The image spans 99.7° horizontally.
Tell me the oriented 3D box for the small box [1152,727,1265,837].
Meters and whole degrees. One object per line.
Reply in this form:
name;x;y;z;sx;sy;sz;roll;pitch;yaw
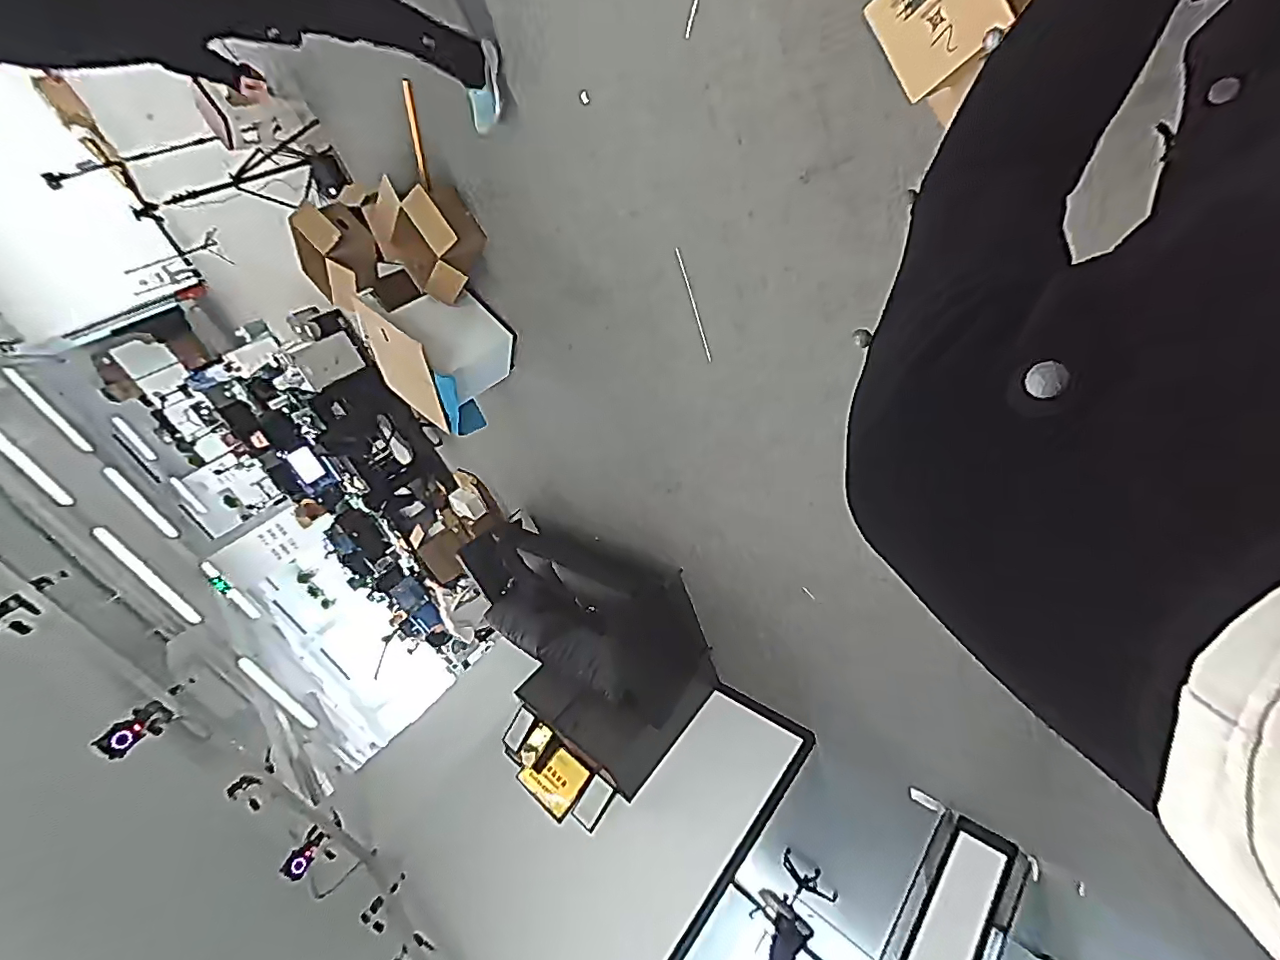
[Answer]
small box;1.584;0.837;1.507;0.168;0.176;0.179;25;142;40

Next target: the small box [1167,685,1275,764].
small box;1.697;0.743;1.579;0.168;0.176;0.179;23;140;44

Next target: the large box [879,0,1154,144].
large box;0.727;-0.903;0.948;0.320;0.320;0.408;52;149;-6
